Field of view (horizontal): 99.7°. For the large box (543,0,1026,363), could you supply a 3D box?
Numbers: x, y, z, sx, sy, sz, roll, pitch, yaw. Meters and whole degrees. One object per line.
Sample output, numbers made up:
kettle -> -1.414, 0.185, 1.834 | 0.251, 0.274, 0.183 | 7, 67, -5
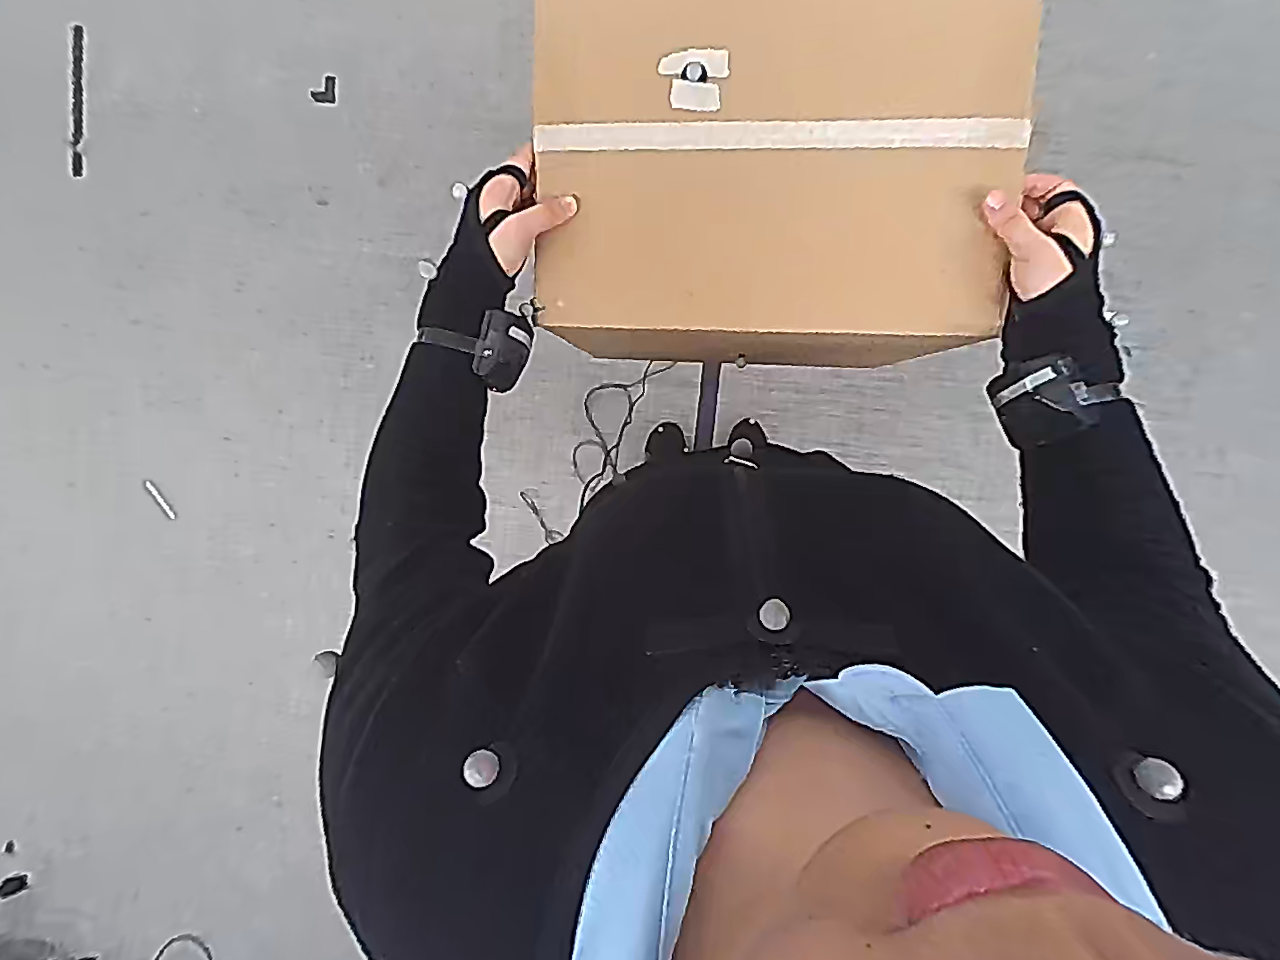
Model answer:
large box -> 0.128, -0.302, 0.612 | 0.408, 0.320, 0.320 | 2, 95, 6
